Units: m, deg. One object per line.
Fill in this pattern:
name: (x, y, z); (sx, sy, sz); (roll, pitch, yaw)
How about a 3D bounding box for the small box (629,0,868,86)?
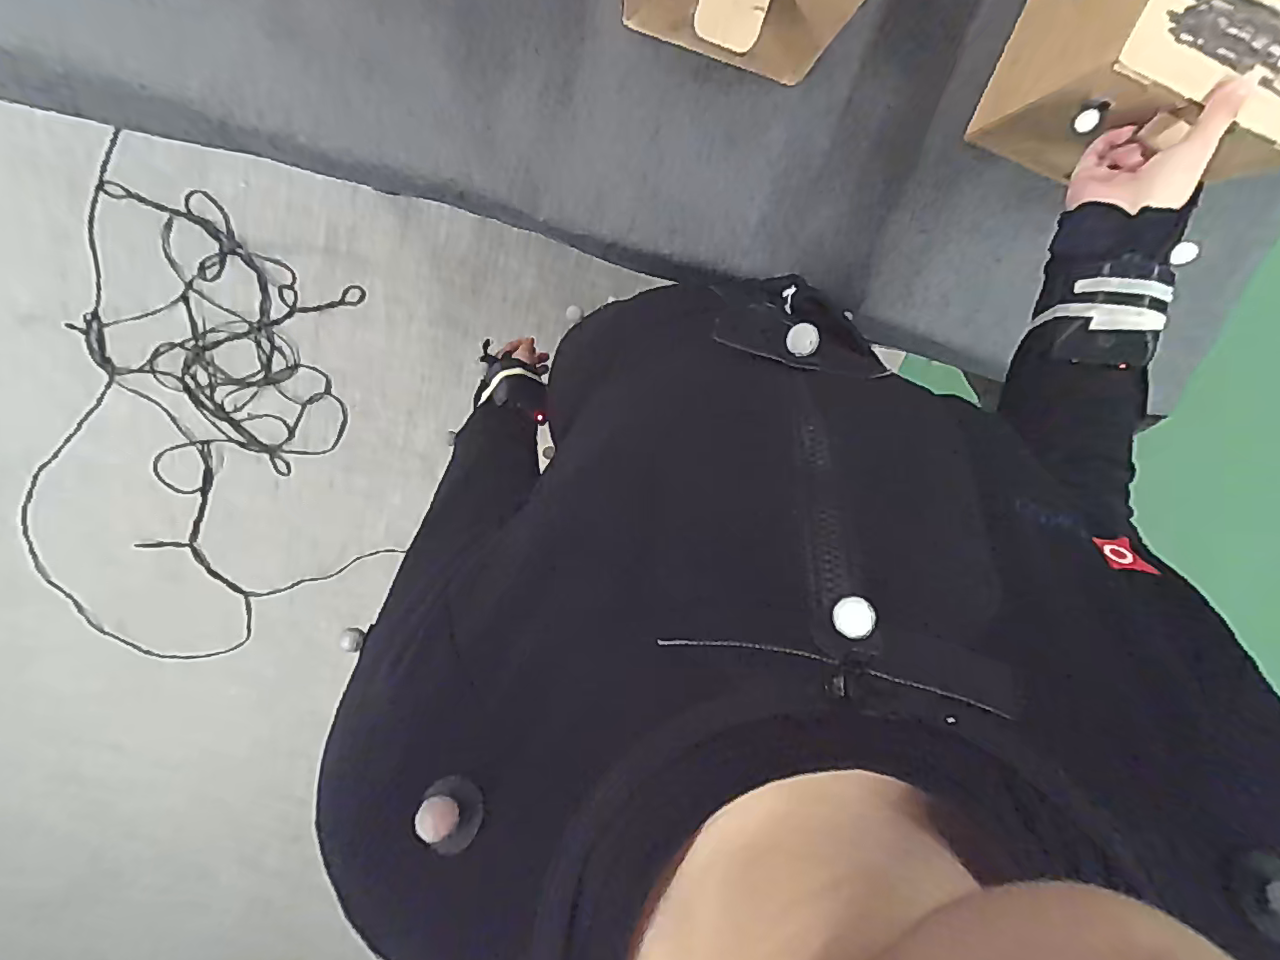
small box: (0.090, -0.429, 0.382); (0.168, 0.176, 0.179); (14, 107, -7)
